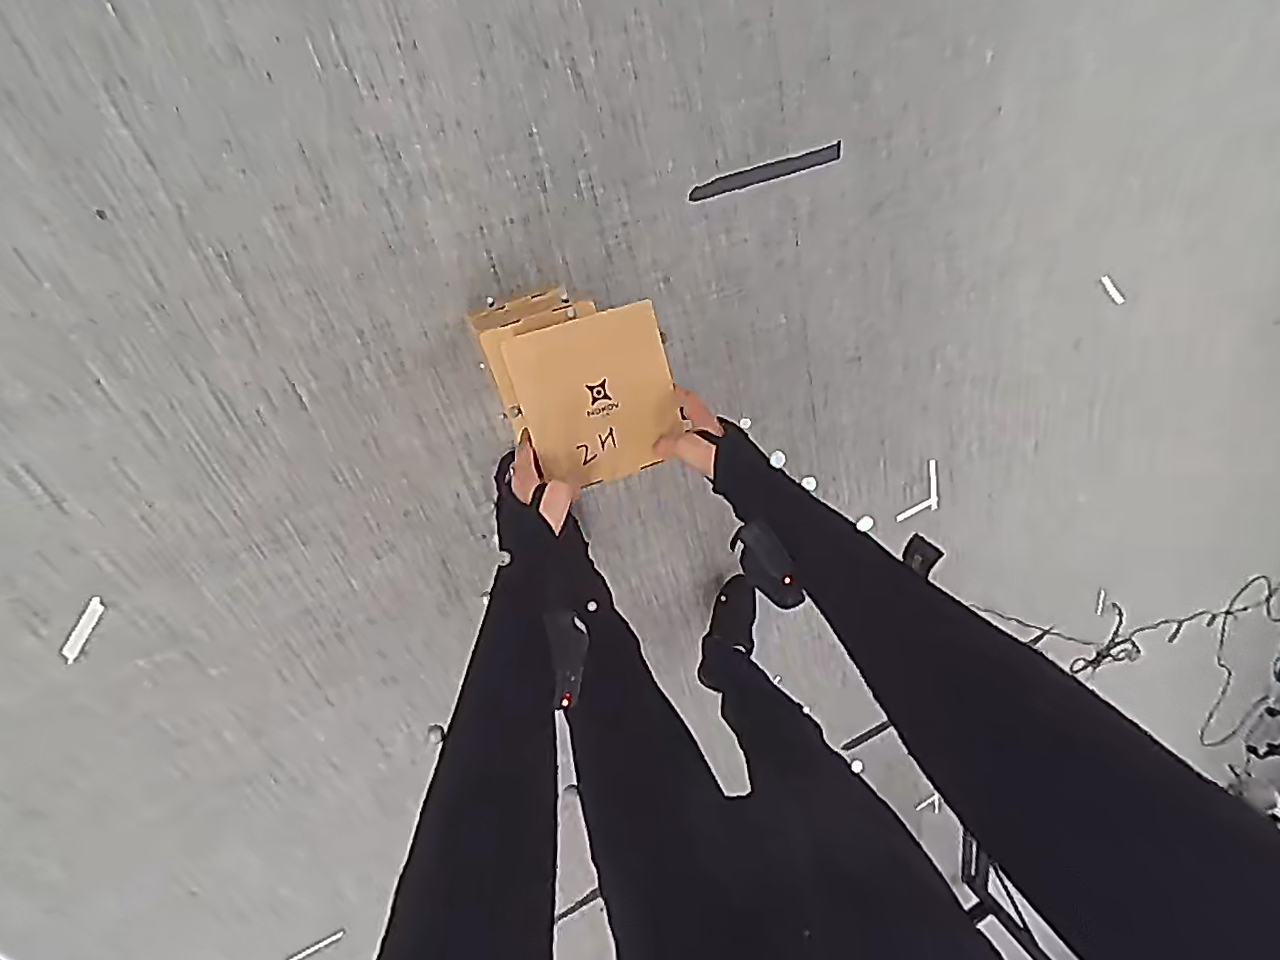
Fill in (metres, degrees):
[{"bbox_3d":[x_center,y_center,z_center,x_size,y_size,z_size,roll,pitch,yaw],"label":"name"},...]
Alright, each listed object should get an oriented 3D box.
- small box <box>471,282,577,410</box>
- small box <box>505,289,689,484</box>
[{"bbox_3d":[-0.196,-0.249,0.982,0.168,0.176,0.179,-23,116,-11],"label":"small box"},{"bbox_3d":[-0.059,-0.115,0.656,0.168,0.176,0.179,-18,107,-7],"label":"small box"}]
